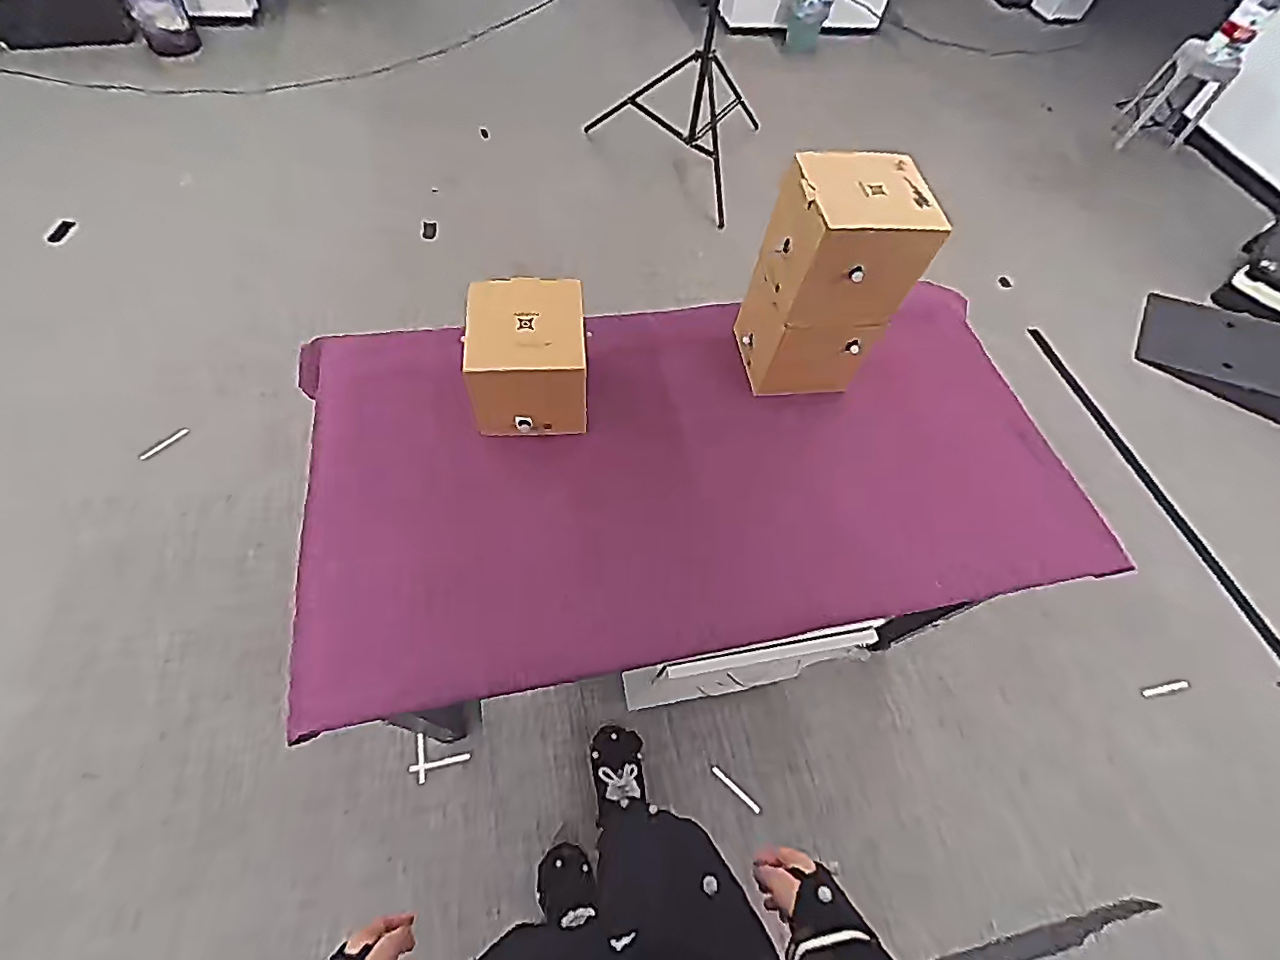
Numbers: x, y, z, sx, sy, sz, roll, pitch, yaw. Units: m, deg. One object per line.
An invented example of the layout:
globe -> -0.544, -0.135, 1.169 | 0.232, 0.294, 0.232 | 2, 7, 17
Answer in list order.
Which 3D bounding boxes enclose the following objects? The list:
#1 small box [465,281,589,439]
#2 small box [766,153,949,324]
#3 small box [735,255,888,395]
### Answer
small box -> -0.167, -0.182, 0.836 | 0.168, 0.176, 0.179 | -3, 63, -7
small box -> 0.295, -0.344, 0.787 | 0.179, 0.176, 0.168 | -4, 62, -7
small box -> 0.282, -0.262, 0.928 | 0.179, 0.176, 0.168 | -5, 61, -8
